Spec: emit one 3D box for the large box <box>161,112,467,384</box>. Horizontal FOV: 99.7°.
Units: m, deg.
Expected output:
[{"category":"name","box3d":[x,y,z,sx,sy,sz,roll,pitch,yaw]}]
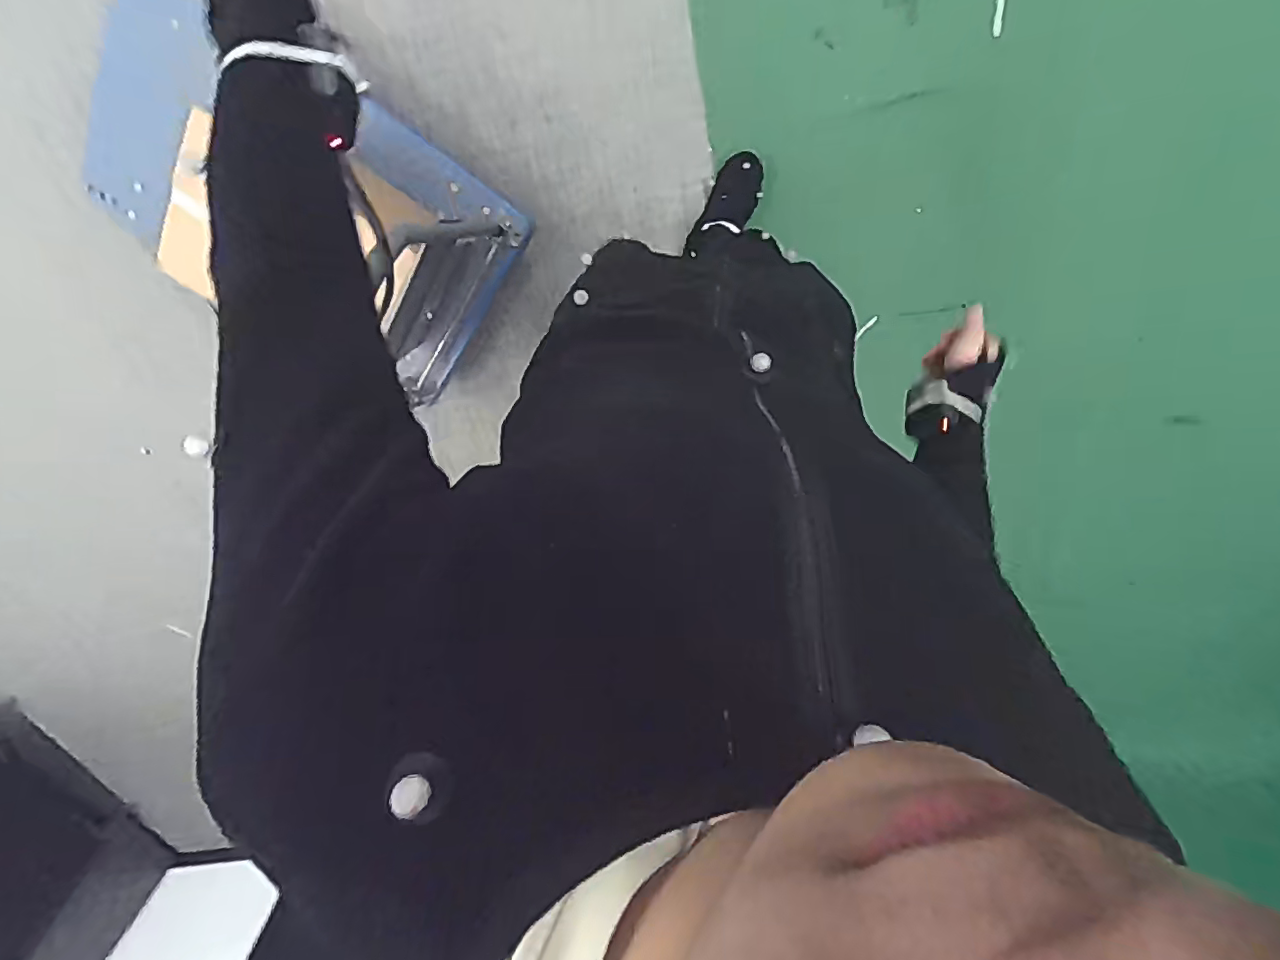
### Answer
[{"category":"large box","box3d":[-0.642,-0.471,1.125,0.408,0.320,0.320,32,115,-14]}]
